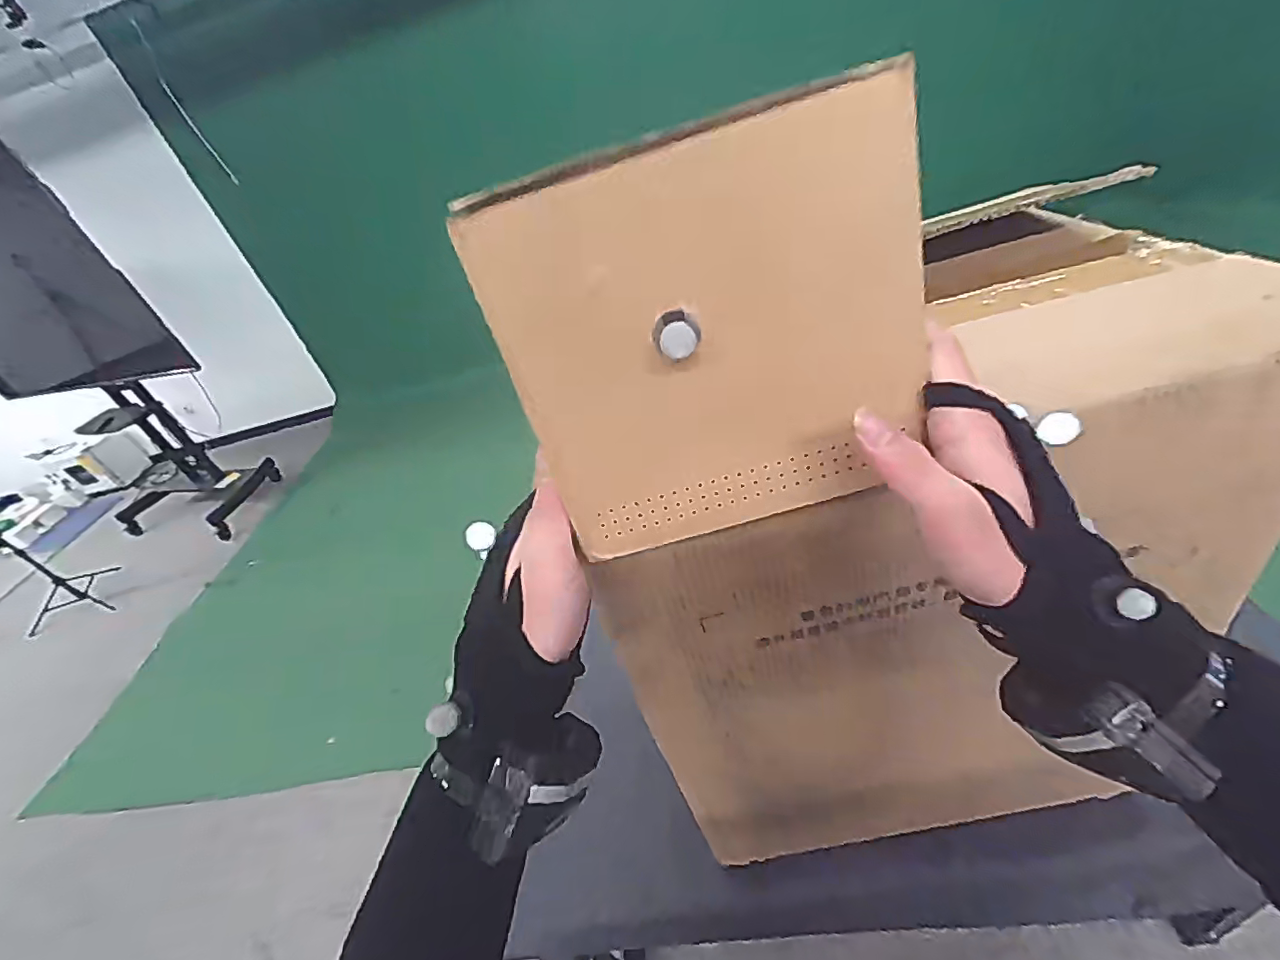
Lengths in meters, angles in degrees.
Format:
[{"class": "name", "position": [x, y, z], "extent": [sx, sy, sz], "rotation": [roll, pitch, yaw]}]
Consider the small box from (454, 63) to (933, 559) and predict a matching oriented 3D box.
[{"class": "small box", "position": [0.033, -0.080, 0.296], "extent": [0.179, 0.176, 0.168], "rotation": [-17, 26, 4]}]
